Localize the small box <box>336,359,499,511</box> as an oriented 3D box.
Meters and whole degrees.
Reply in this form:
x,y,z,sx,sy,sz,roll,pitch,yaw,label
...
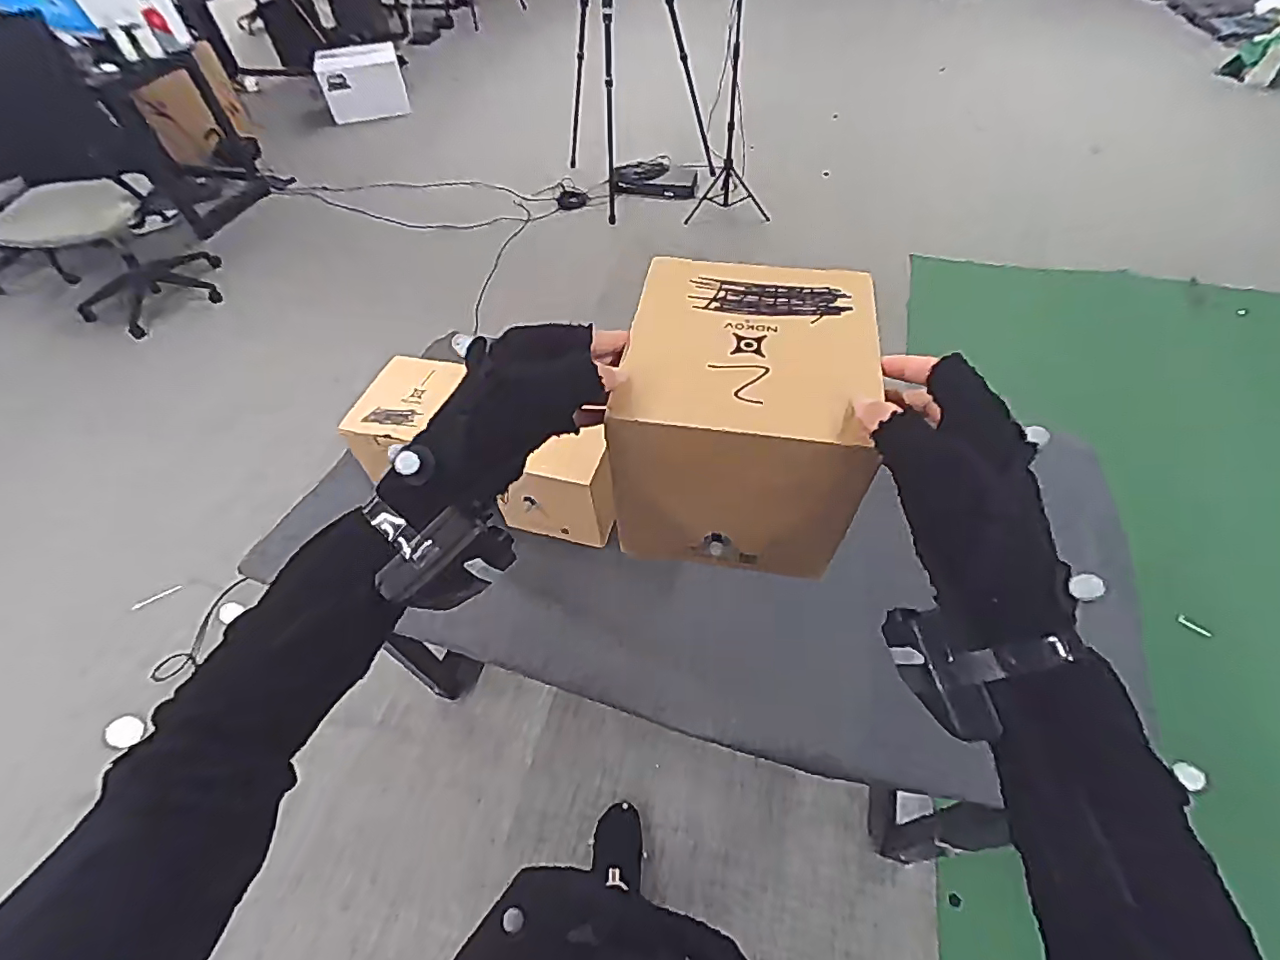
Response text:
x,y,z,sx,sy,sz,roll,pitch,yaw,label
-0.341,-0.071,0.883,0.168,0.176,0.179,9,52,10,small box

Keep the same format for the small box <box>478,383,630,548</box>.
x,y,z,sx,sy,sz,roll,pitch,yaw,label
-0.116,-0.019,0.831,0.168,0.176,0.179,11,52,12,small box
